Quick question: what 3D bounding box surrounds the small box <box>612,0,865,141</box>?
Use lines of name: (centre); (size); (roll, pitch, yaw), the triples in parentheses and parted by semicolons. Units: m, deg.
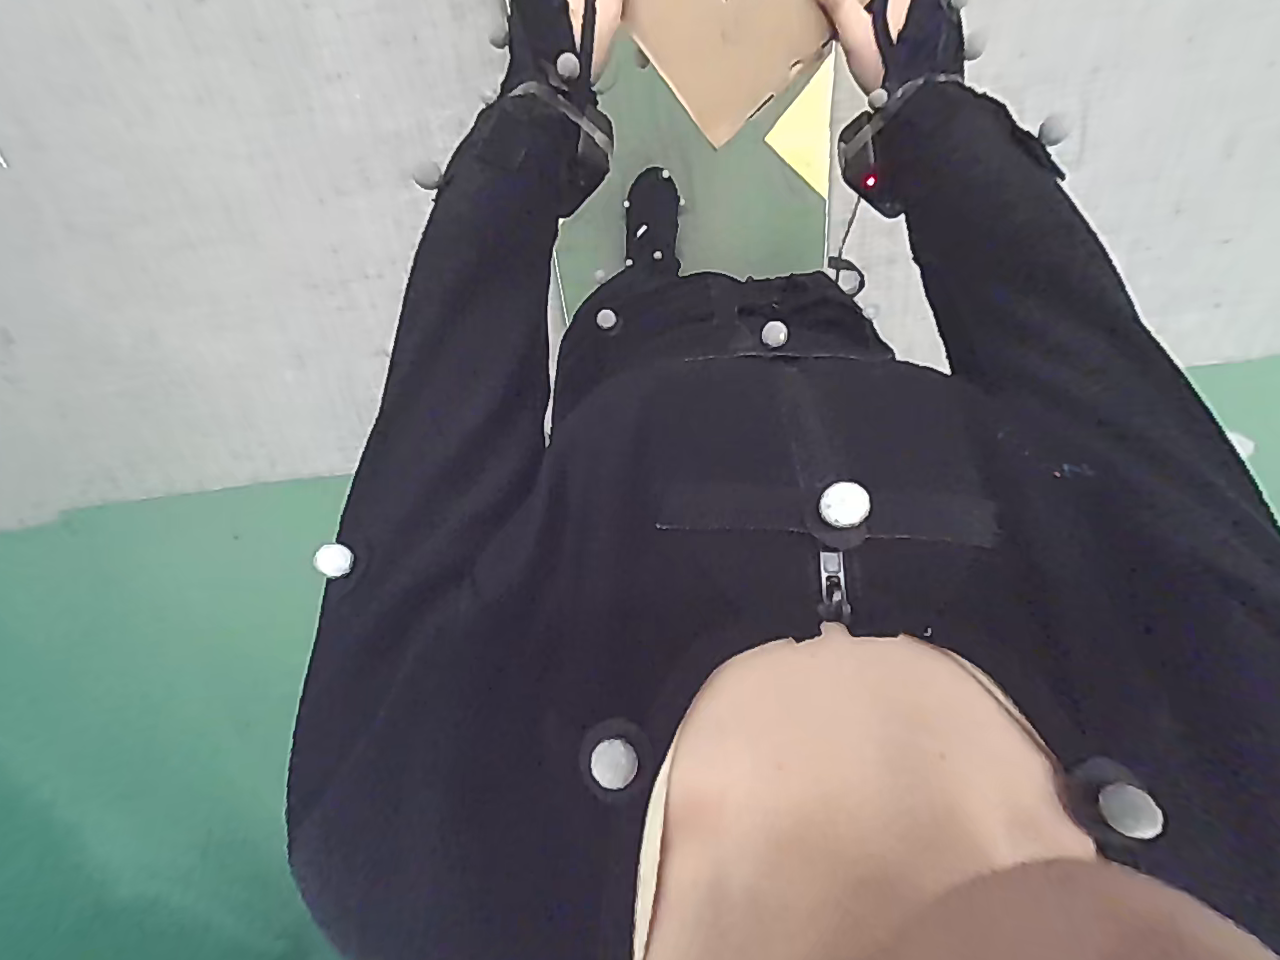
small box: (0.067, -0.434, 0.451); (0.168, 0.176, 0.179); (-35, 123, 26)
